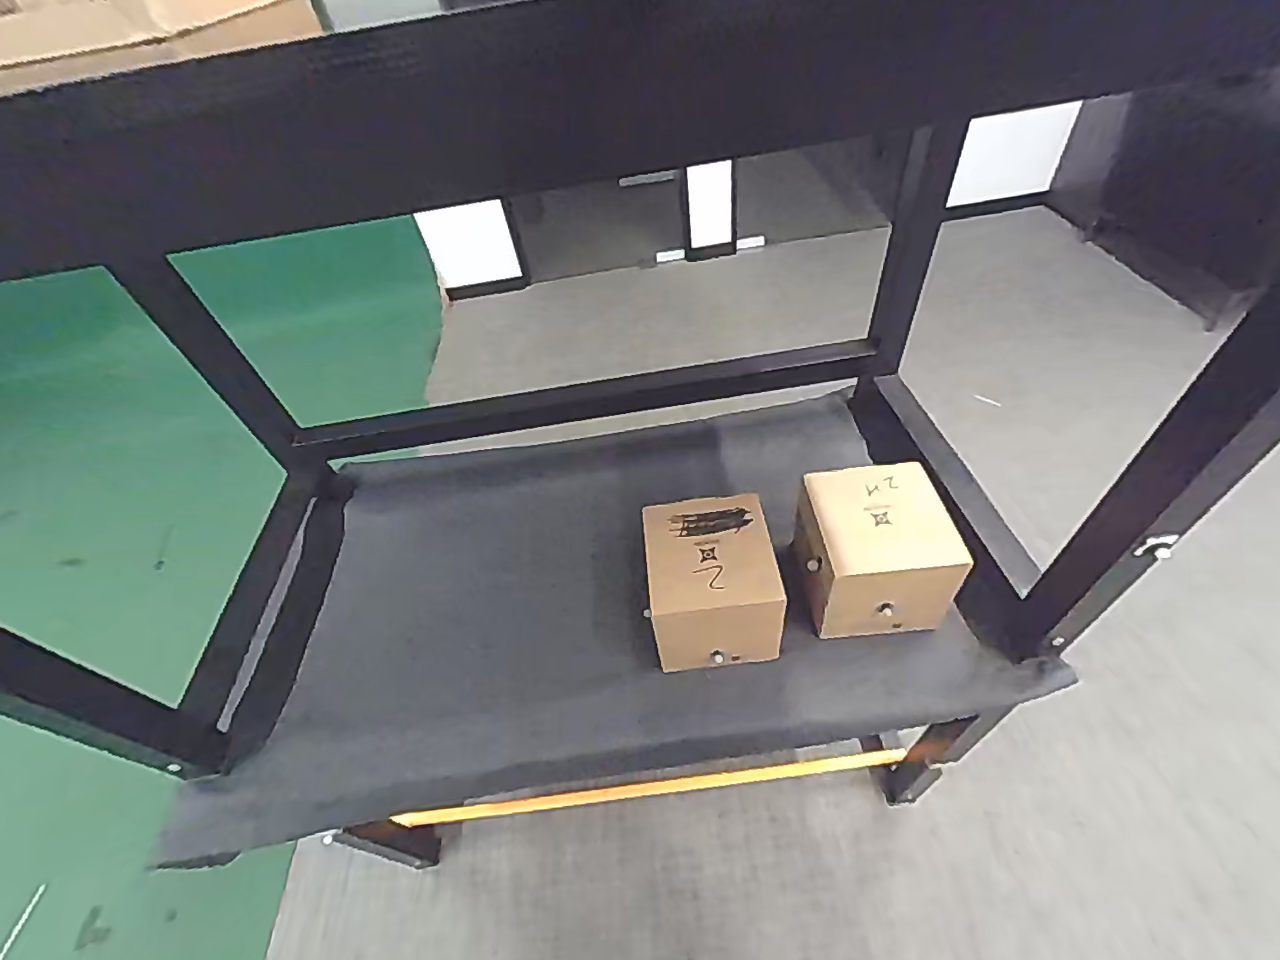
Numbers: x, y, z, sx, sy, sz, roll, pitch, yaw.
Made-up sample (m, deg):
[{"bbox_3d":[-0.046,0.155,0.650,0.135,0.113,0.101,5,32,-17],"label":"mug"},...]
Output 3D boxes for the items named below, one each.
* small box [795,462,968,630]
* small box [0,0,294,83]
[{"bbox_3d":[0.324,0.100,0.769,0.168,0.176,0.179,-6,47,4],"label":"small box"},{"bbox_3d":[-0.308,-0.304,0.253,0.168,0.176,0.179,-7,47,4],"label":"small box"}]
